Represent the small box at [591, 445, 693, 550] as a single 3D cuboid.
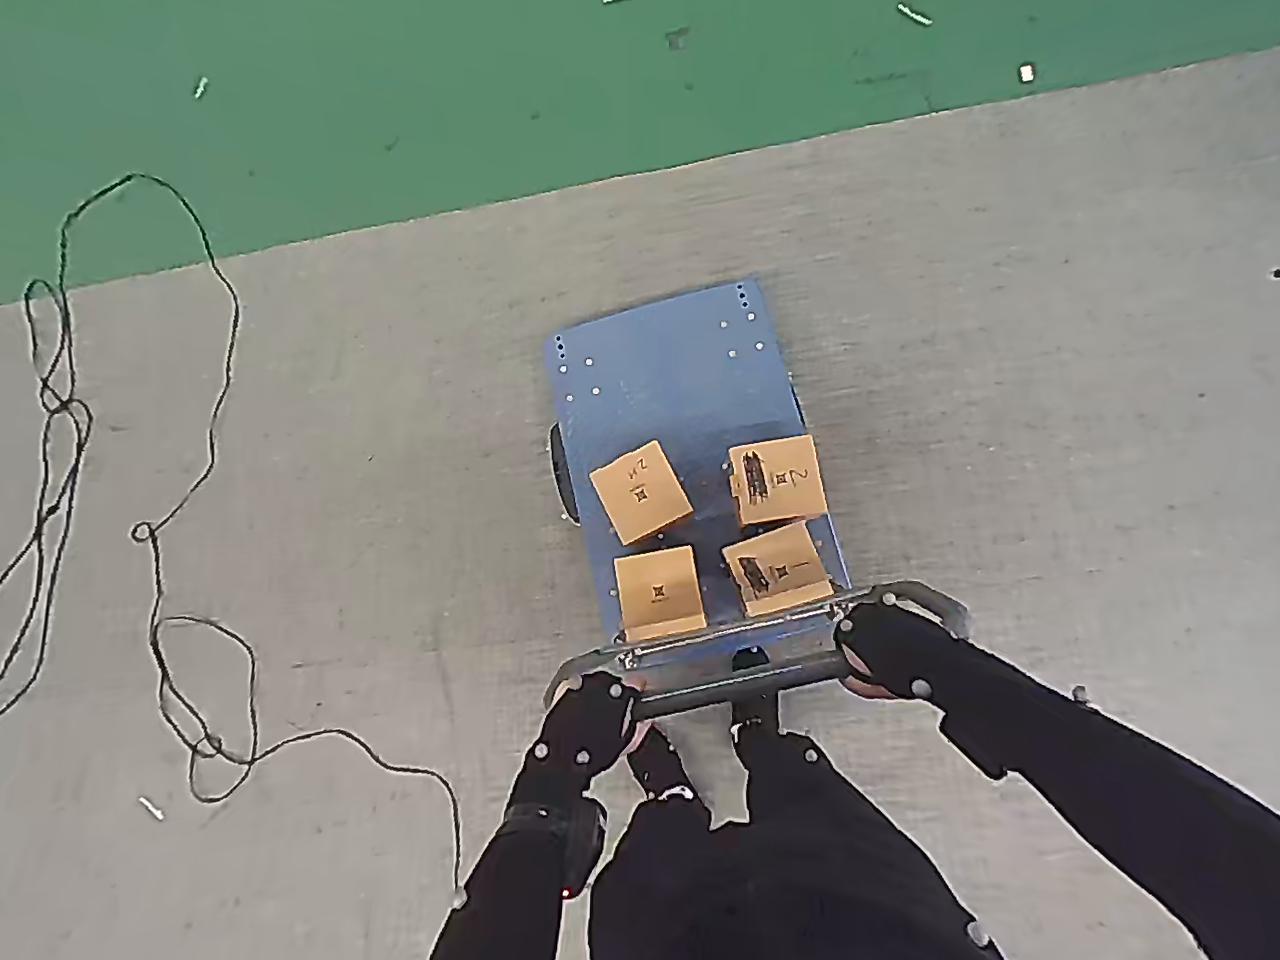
[{"bbox_3d":[0.012,0.046,1.219,0.168,0.176,0.179,-27,78,1],"label":"small box"}]
